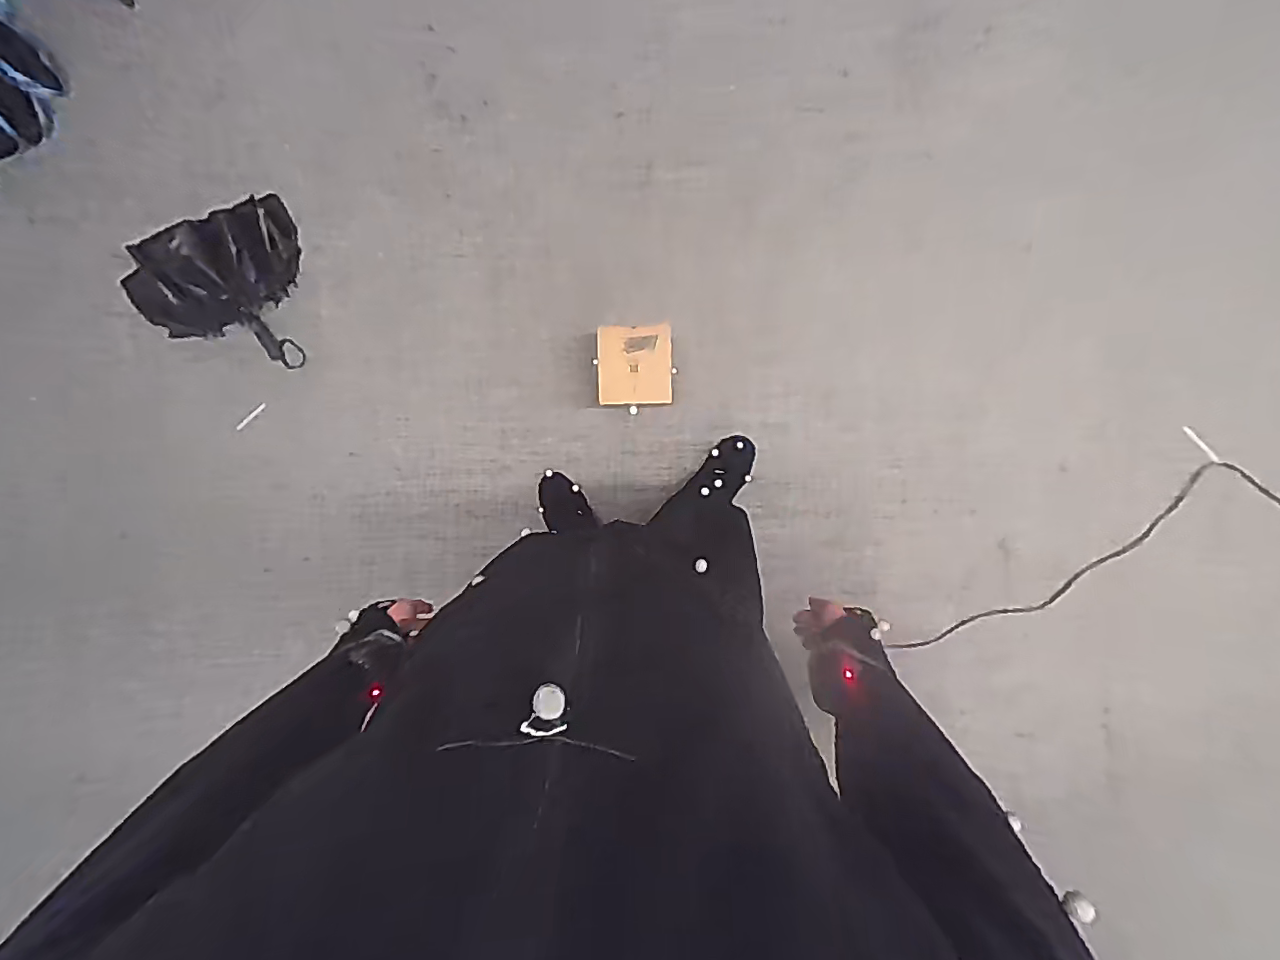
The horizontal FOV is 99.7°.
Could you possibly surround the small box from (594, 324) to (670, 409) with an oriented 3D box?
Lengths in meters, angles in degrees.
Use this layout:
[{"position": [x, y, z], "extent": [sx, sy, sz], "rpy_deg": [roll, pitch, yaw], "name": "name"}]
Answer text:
[{"position": [-0.018, -0.255, 1.249], "extent": [0.168, 0.176, 0.179], "rpy_deg": [-1, 97, 1], "name": "small box"}]
